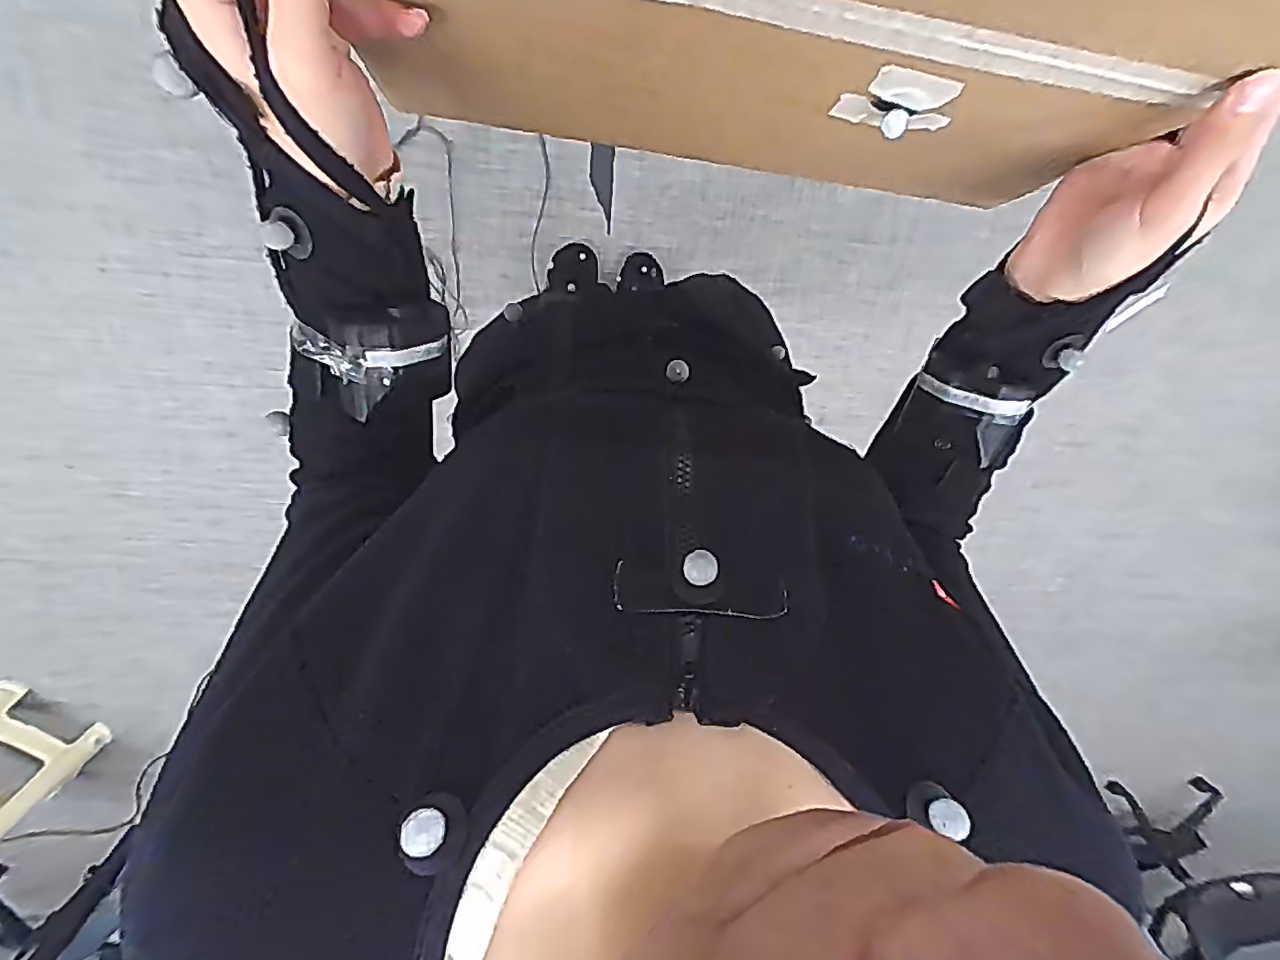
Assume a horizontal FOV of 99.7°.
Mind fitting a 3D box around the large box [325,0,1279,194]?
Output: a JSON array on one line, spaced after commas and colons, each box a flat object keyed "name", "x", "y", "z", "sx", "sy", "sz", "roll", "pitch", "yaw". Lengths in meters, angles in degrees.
[{"name": "large box", "x": 0.074, "y": -0.340, "z": 0.190, "sx": 0.408, "sy": 0.320, "sz": 0.320, "roll": 4, "pitch": 100, "yaw": -7}]
